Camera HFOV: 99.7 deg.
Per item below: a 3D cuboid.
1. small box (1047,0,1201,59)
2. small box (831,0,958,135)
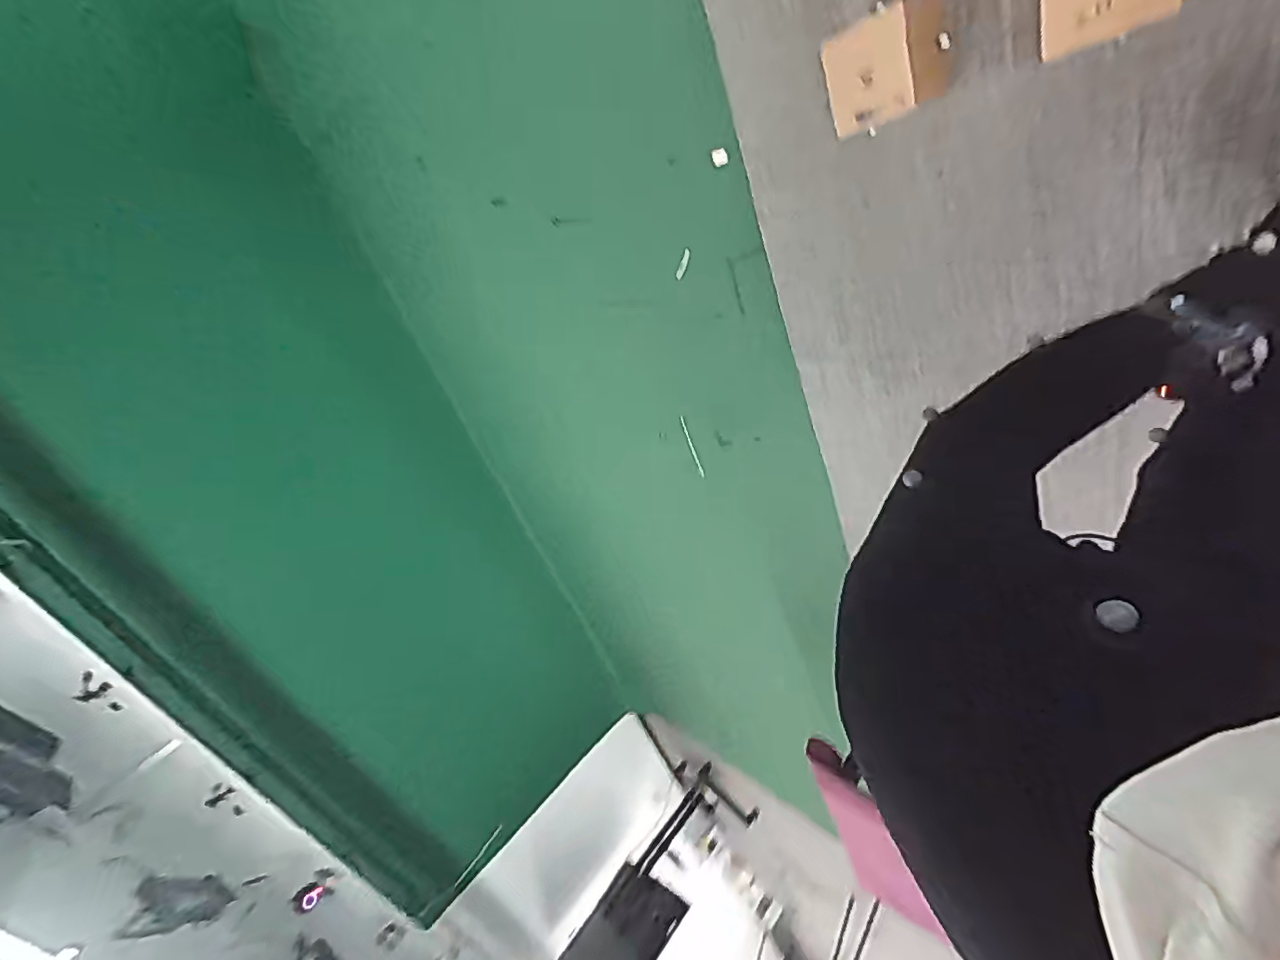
[{"bbox_3d":[0.745,-0.787,0.822,0.168,0.176,0.179,13,134,49],"label":"small box"},{"bbox_3d":[0.517,-0.838,1.093,0.168,0.176,0.179,12,132,51],"label":"small box"}]
